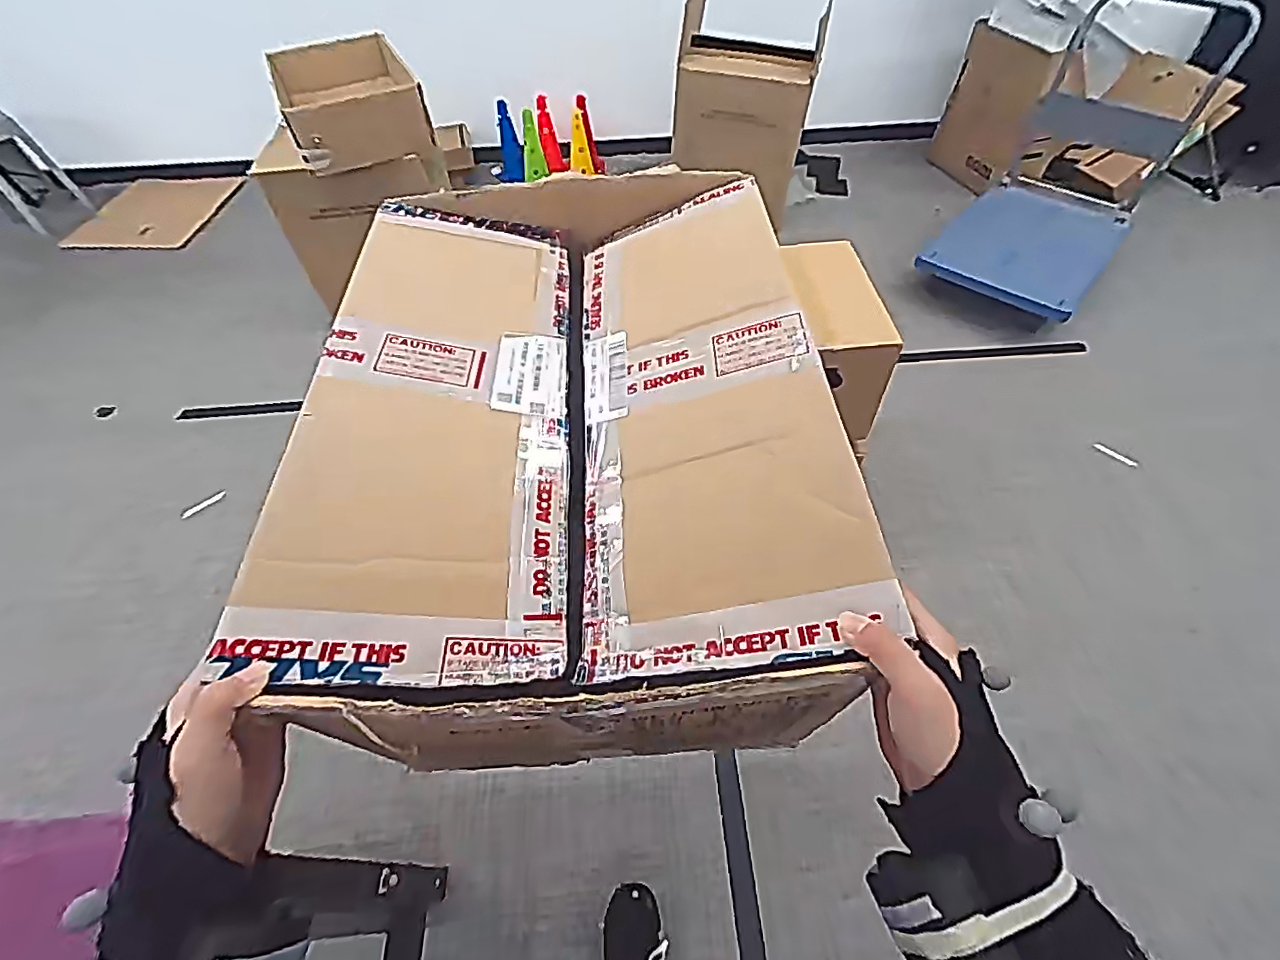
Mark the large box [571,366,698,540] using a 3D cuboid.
[{"bbox_3d":[-0.024,-0.080,1.589,0.320,0.320,0.408,-6,54,-2],"label":"large box"}]
